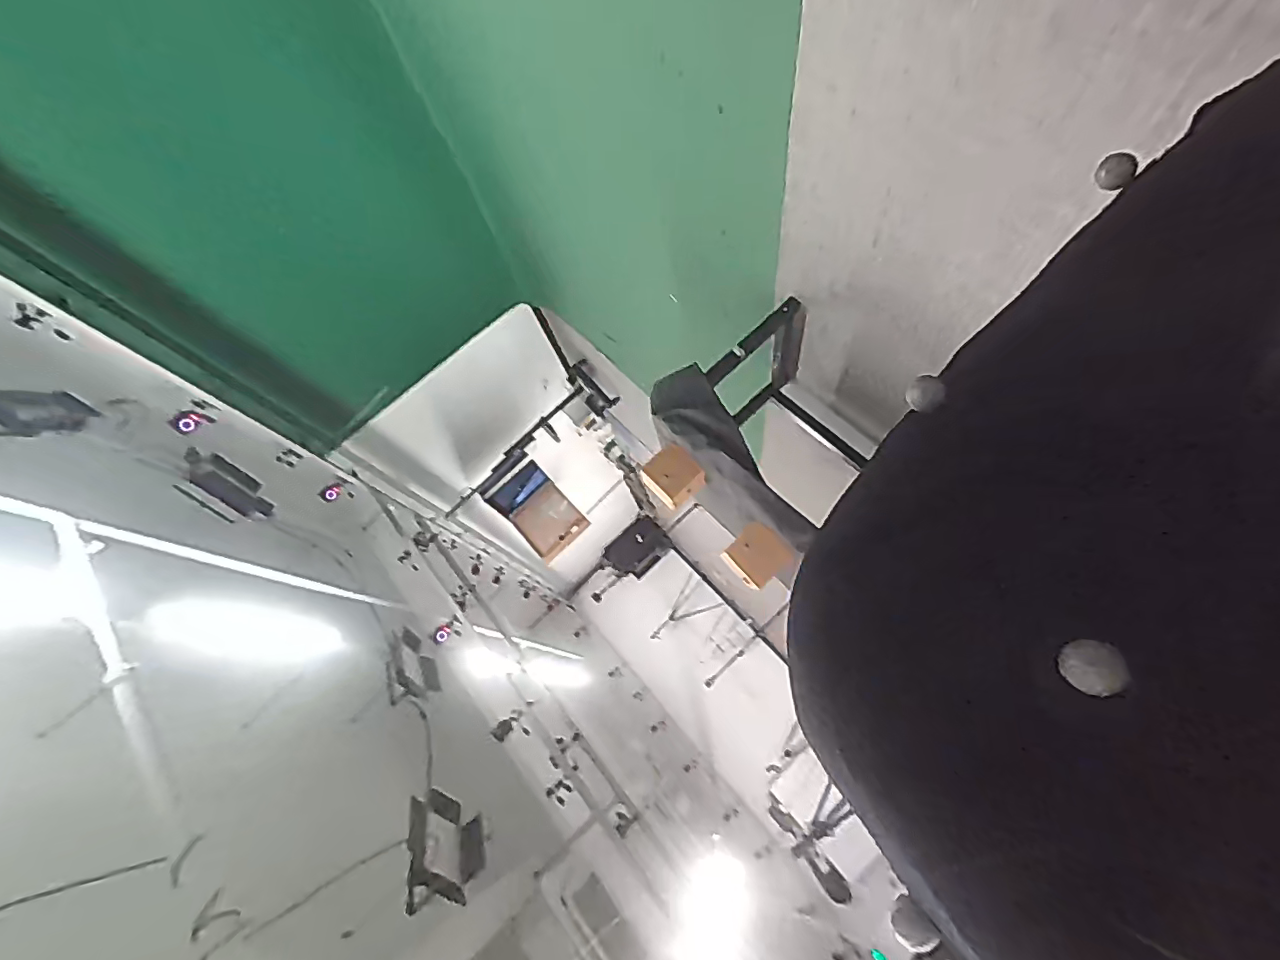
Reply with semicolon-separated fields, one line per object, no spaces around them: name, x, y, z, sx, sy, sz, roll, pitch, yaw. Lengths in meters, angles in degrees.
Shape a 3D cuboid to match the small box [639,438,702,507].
small box;0.121;-0.030;2.059;0.179;0.176;0.168;46;171;17
